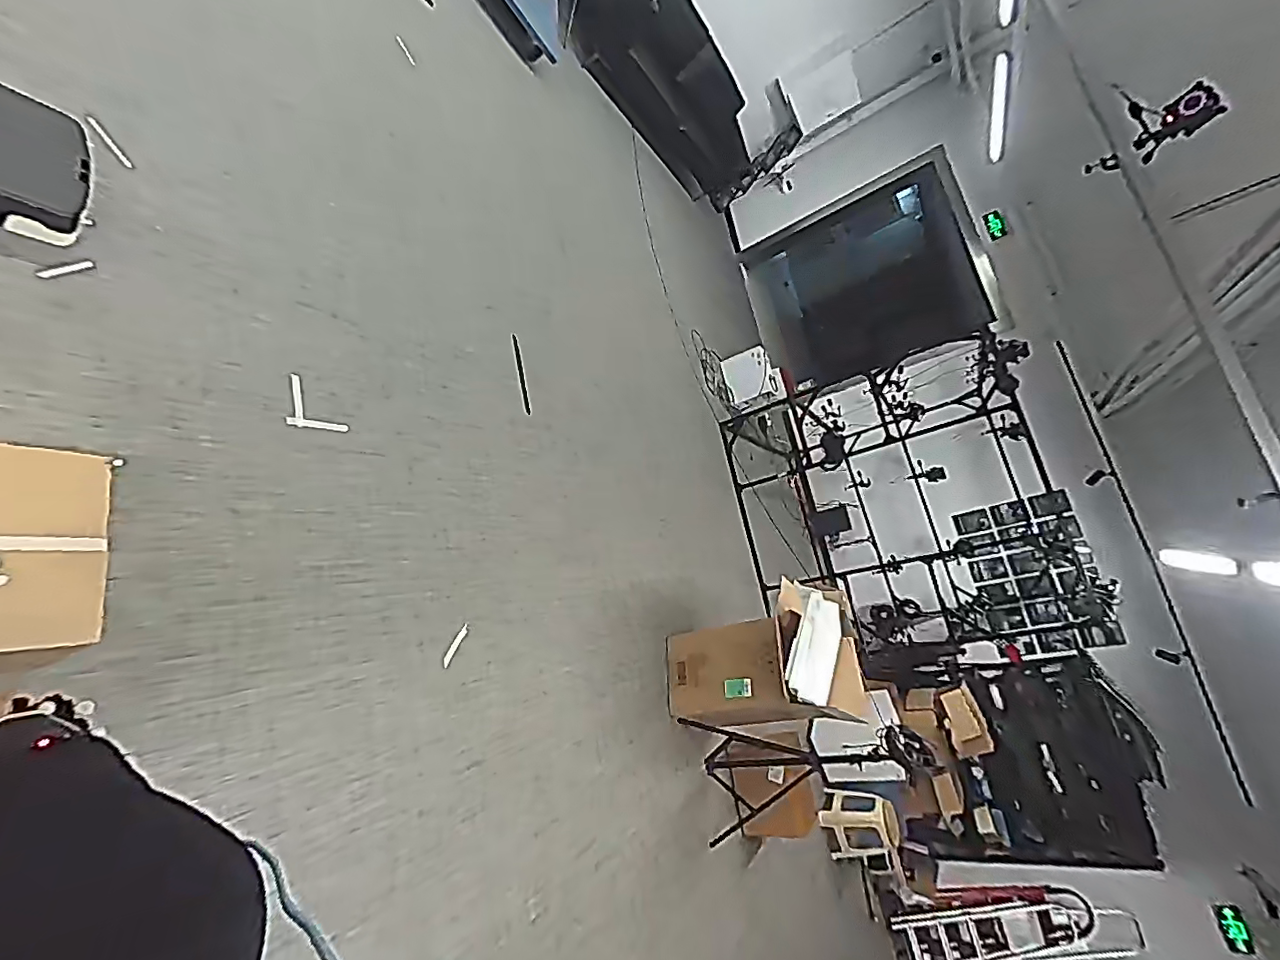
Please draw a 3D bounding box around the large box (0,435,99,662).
[{"bbox_3d":[-1.101,0.110,0.762,0.408,0.320,0.320,15,61,-59],"label":"large box"}]
